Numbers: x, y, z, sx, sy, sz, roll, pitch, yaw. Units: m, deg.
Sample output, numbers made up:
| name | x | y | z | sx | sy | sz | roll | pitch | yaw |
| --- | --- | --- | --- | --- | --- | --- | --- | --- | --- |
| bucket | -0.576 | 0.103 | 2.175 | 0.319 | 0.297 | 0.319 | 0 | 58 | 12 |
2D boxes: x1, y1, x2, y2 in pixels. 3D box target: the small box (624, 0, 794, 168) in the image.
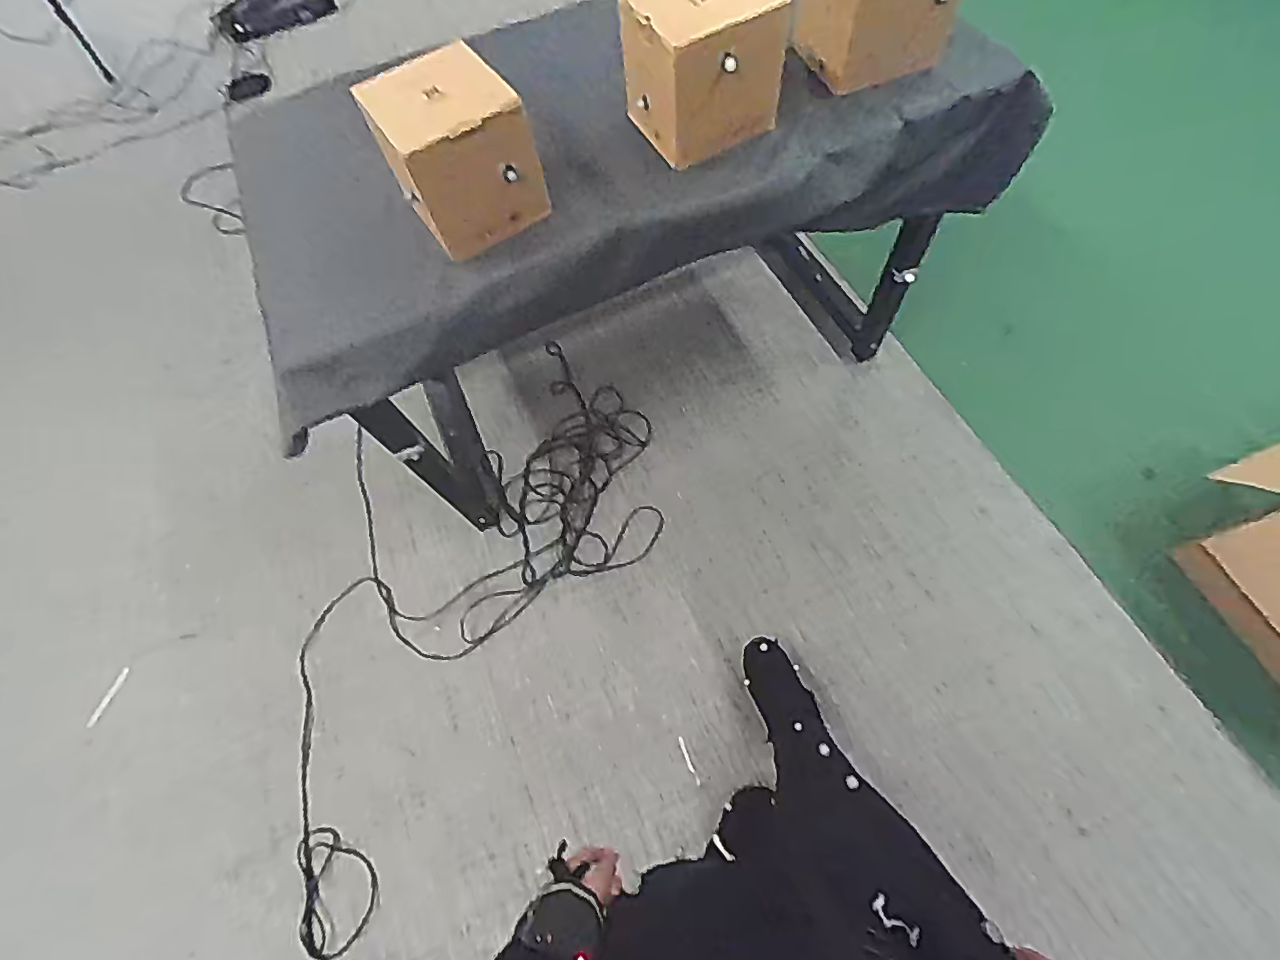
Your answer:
| name | x | y | z | sx | sy | sz | roll | pitch | yaw |
| --- | --- | --- | --- | --- | --- | --- | --- | --- | --- |
| small box | 0.094 | -0.602 | 0.788 | 0.179 | 0.176 | 0.168 | -27 | 66 | -6 |

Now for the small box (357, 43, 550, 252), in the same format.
| name | x | y | z | sx | sy | sz | roll | pitch | yaw |
| --- | --- | --- | --- | --- | --- | --- | --- | --- | --- |
| small box | -0.246 | -0.449 | 0.751 | 0.168 | 0.176 | 0.179 | -33 | 65 | -11 |
